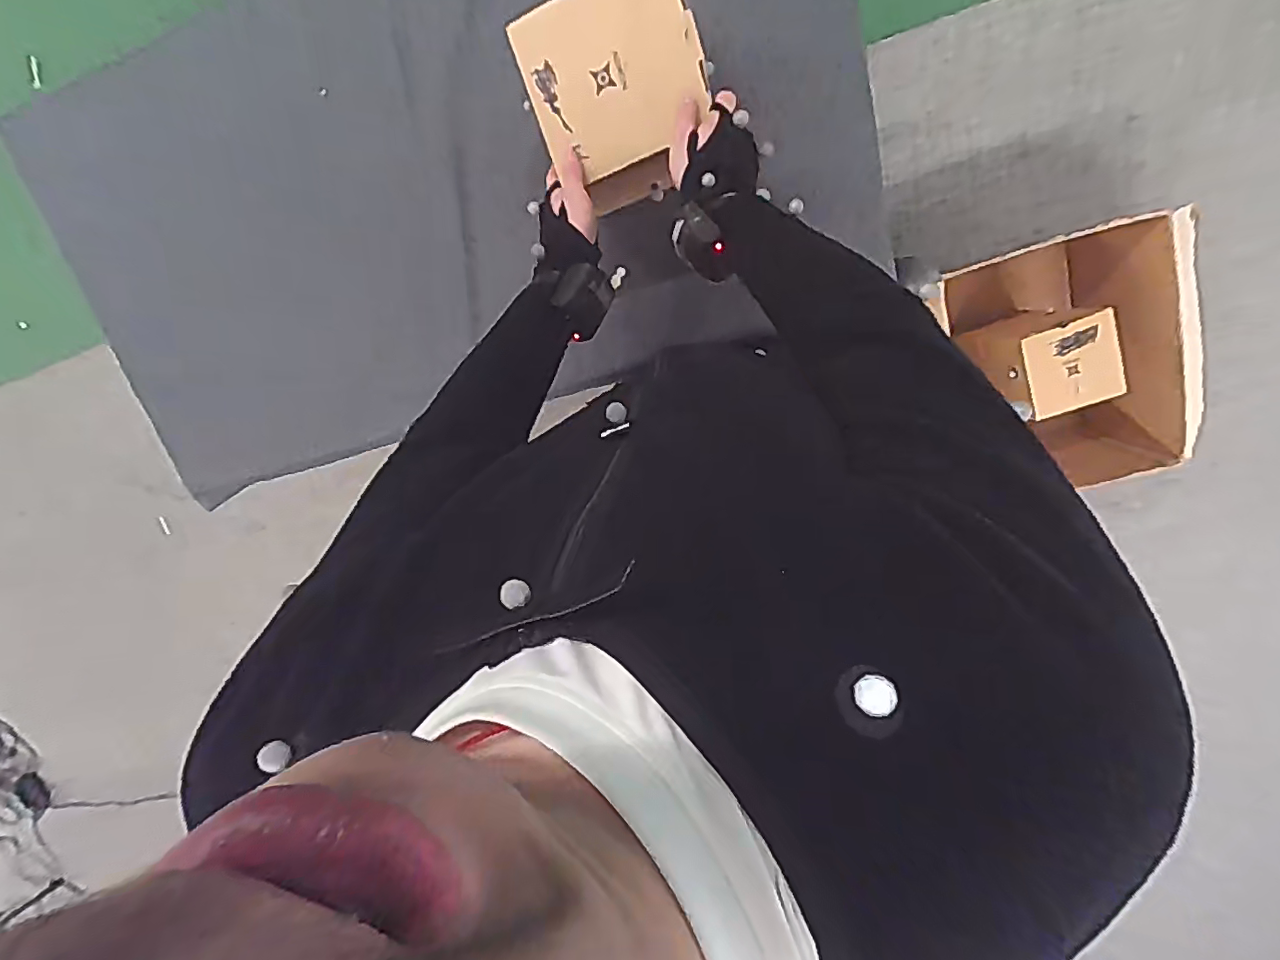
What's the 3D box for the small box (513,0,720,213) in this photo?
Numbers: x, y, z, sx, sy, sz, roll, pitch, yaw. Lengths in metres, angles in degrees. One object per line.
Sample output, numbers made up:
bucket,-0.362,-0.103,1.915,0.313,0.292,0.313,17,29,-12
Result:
small box,-0.015,-0.437,0.635,0.179,0.176,0.168,-19,106,14
